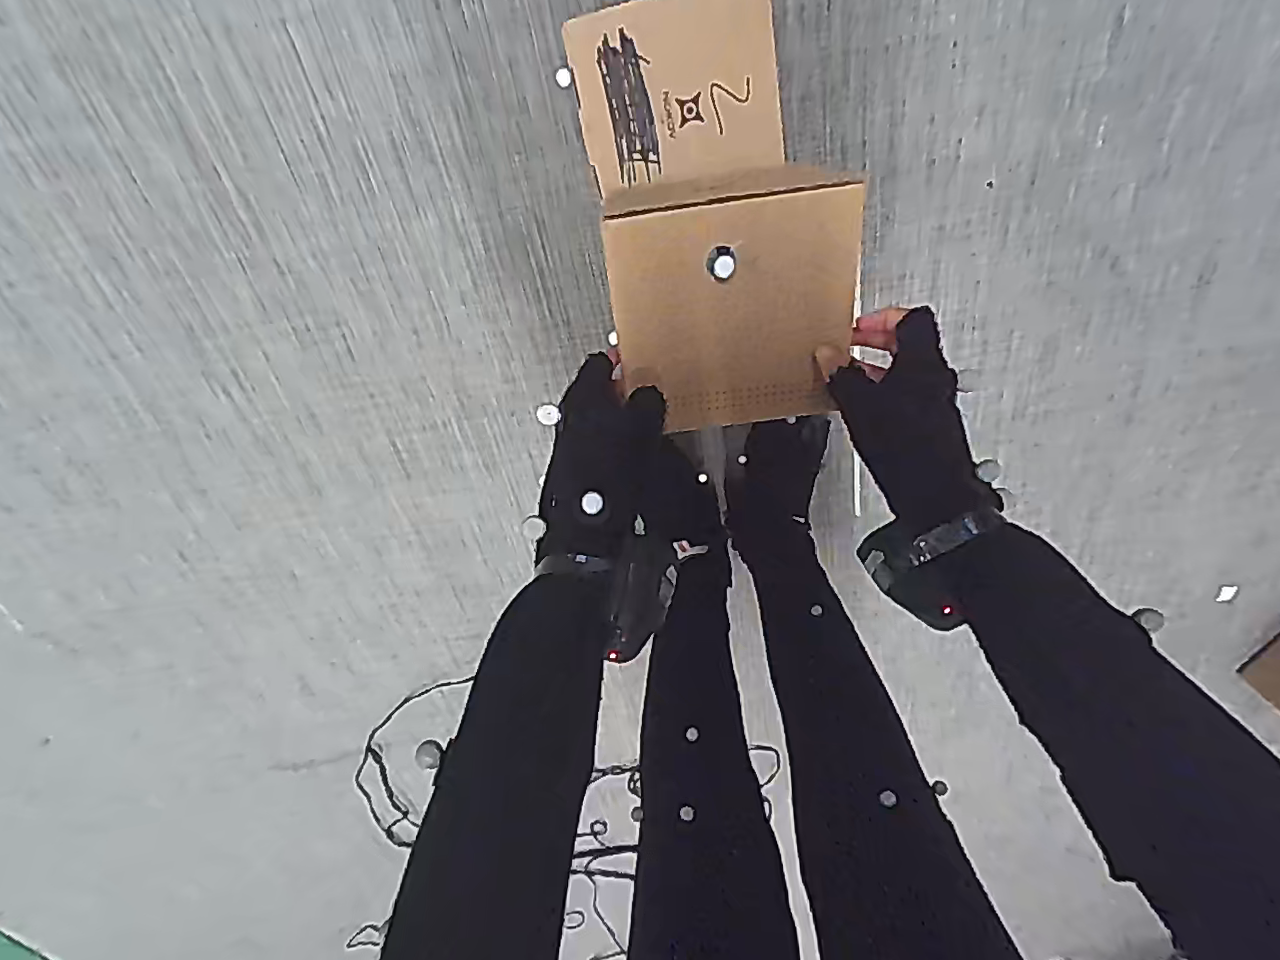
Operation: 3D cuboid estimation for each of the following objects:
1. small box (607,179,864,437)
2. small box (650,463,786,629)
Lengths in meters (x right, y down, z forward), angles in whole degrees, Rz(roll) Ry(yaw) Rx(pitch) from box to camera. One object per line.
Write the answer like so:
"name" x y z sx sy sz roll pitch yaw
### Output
"small box" 0.073 -0.152 0.470 0.179 0.168 0.176 -7 120 3
"small box" 0.114 0.097 0.838 0.168 0.176 0.179 -10 121 -5
